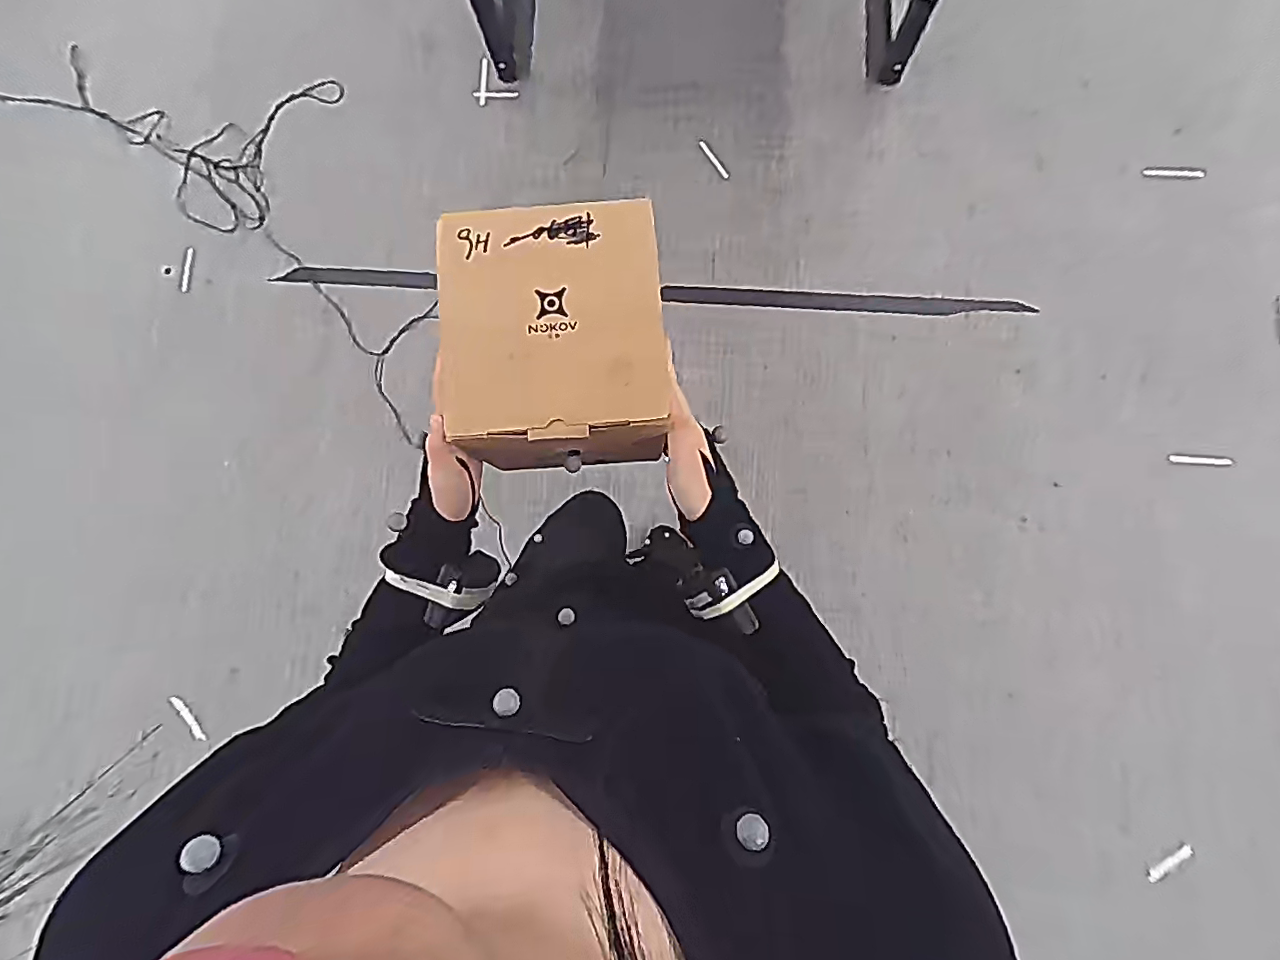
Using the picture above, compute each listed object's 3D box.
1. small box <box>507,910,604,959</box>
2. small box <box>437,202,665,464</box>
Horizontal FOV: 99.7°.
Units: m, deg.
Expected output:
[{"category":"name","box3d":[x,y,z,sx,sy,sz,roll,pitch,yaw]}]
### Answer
[{"category":"small box","box3d":[-0.166,0.973,1.040,0.179,0.176,0.168,2,83,5]},{"category":"small box","box3d":[-0.066,-0.110,0.479,0.168,0.176,0.179,-5,83,0]}]
